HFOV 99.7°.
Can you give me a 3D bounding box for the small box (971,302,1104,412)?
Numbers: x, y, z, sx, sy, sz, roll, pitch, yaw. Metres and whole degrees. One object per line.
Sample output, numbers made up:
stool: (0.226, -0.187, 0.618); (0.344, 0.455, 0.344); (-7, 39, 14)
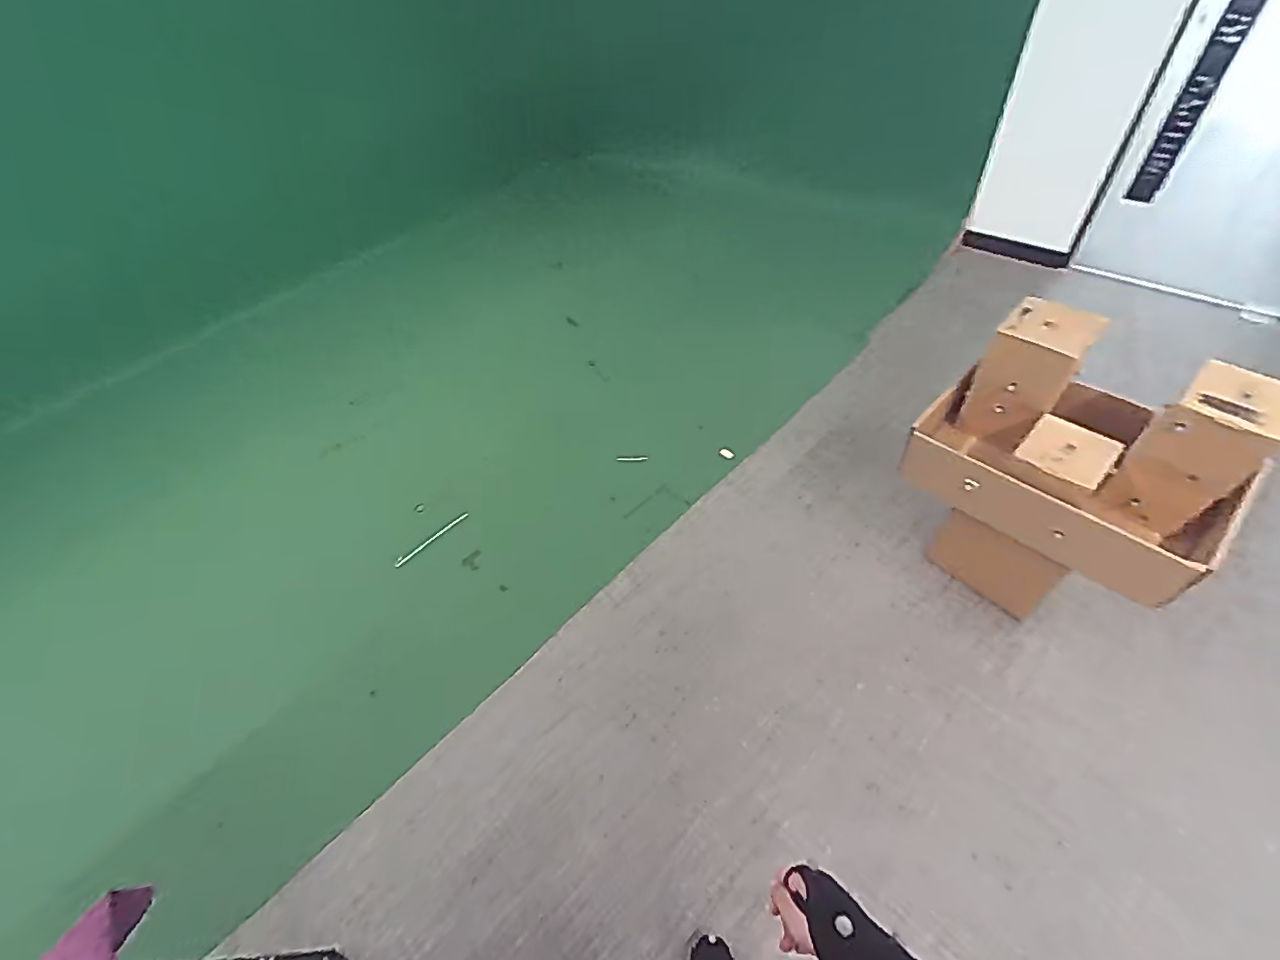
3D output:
small box: (0.946, -0.290, 1.301); (0.168, 0.176, 0.179); (-40, 56, -21)
